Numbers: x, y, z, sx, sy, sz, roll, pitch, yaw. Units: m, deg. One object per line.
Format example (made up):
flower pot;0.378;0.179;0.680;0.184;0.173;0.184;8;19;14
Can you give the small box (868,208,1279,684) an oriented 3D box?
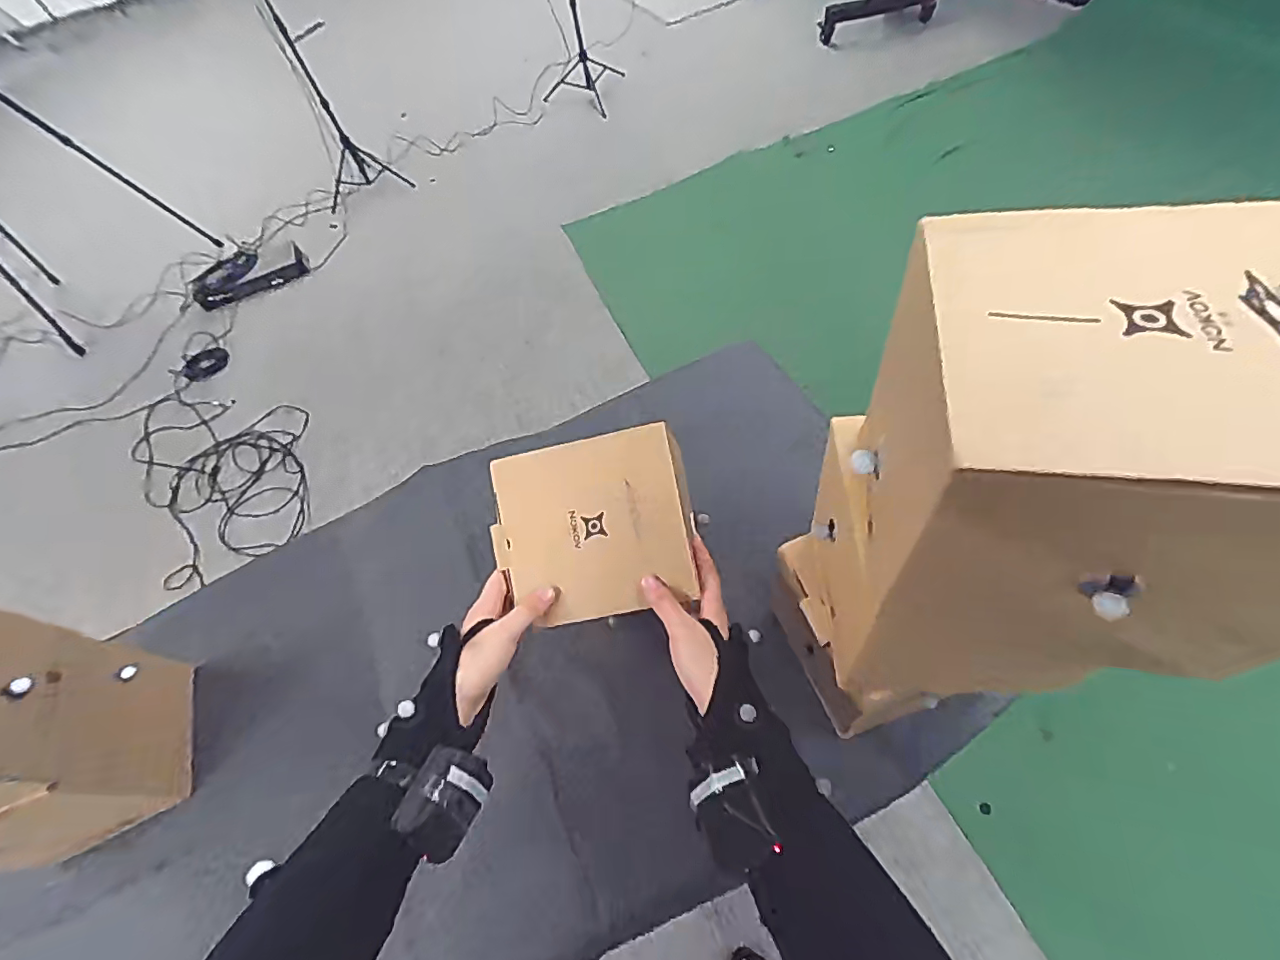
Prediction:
small box;0.224;-0.009;0.272;0.179;0.176;0.168;5;56;15

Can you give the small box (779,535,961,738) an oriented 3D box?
small box;0.260;0.147;0.562;0.179;0.176;0.168;-21;54;-3

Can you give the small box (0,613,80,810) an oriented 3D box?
small box;-0.677;0.224;0.480;0.179;0.176;0.168;-25;58;-7

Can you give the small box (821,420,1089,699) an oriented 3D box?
small box;0.243;0.065;0.420;0.179;0.176;0.168;-3;55;9
